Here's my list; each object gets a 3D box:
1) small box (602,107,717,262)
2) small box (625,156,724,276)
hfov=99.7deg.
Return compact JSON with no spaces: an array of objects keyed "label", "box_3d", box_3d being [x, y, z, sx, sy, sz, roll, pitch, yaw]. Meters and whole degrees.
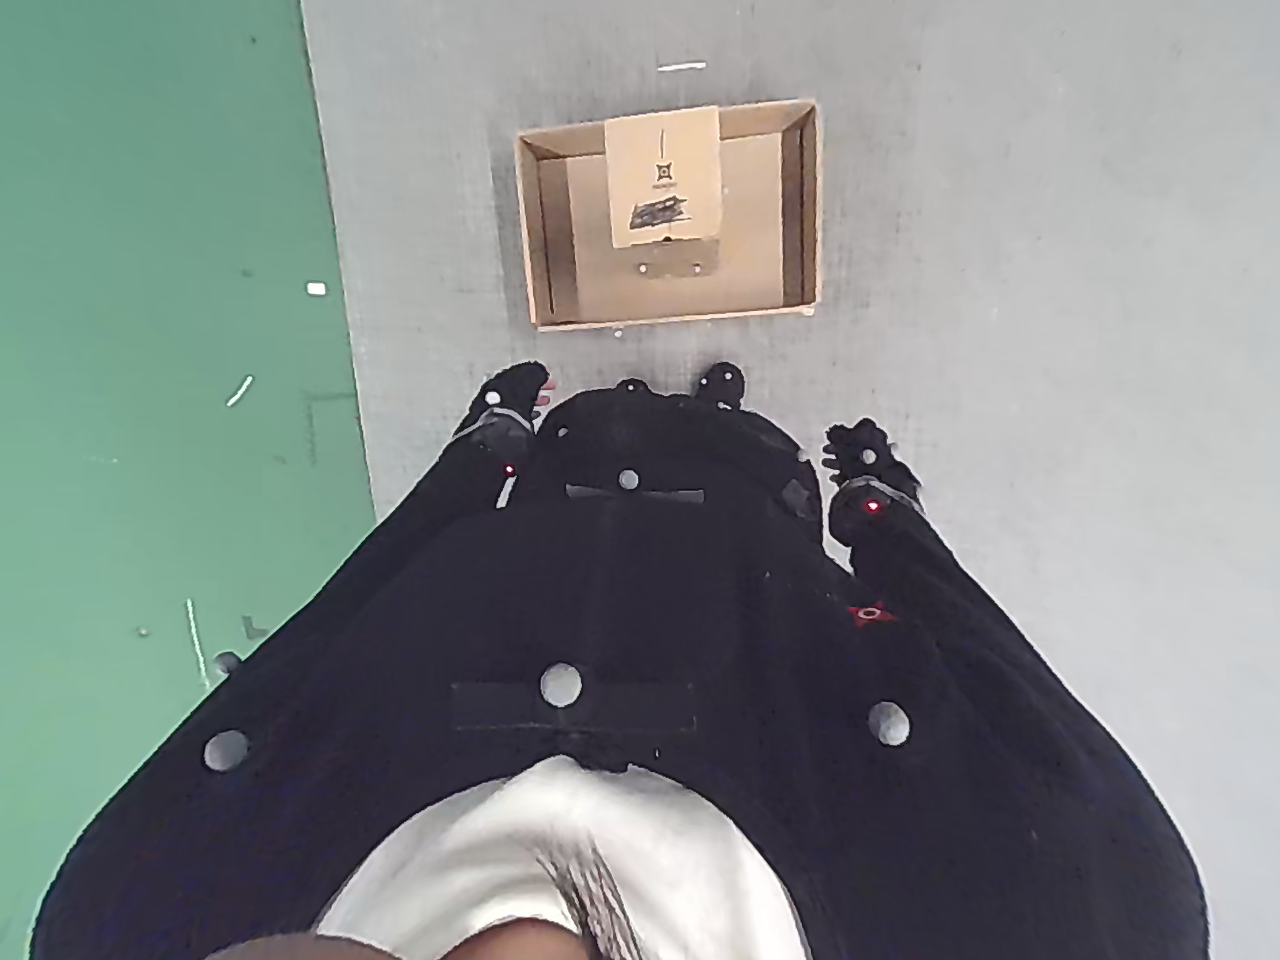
[{"label":"small box","box_3d":[0.039,-0.455,0.864,0.168,0.176,0.179,-2,101,6]},{"label":"small box","box_3d":[0.057,-0.486,1.008,0.179,0.176,0.168,-6,102,7]}]
